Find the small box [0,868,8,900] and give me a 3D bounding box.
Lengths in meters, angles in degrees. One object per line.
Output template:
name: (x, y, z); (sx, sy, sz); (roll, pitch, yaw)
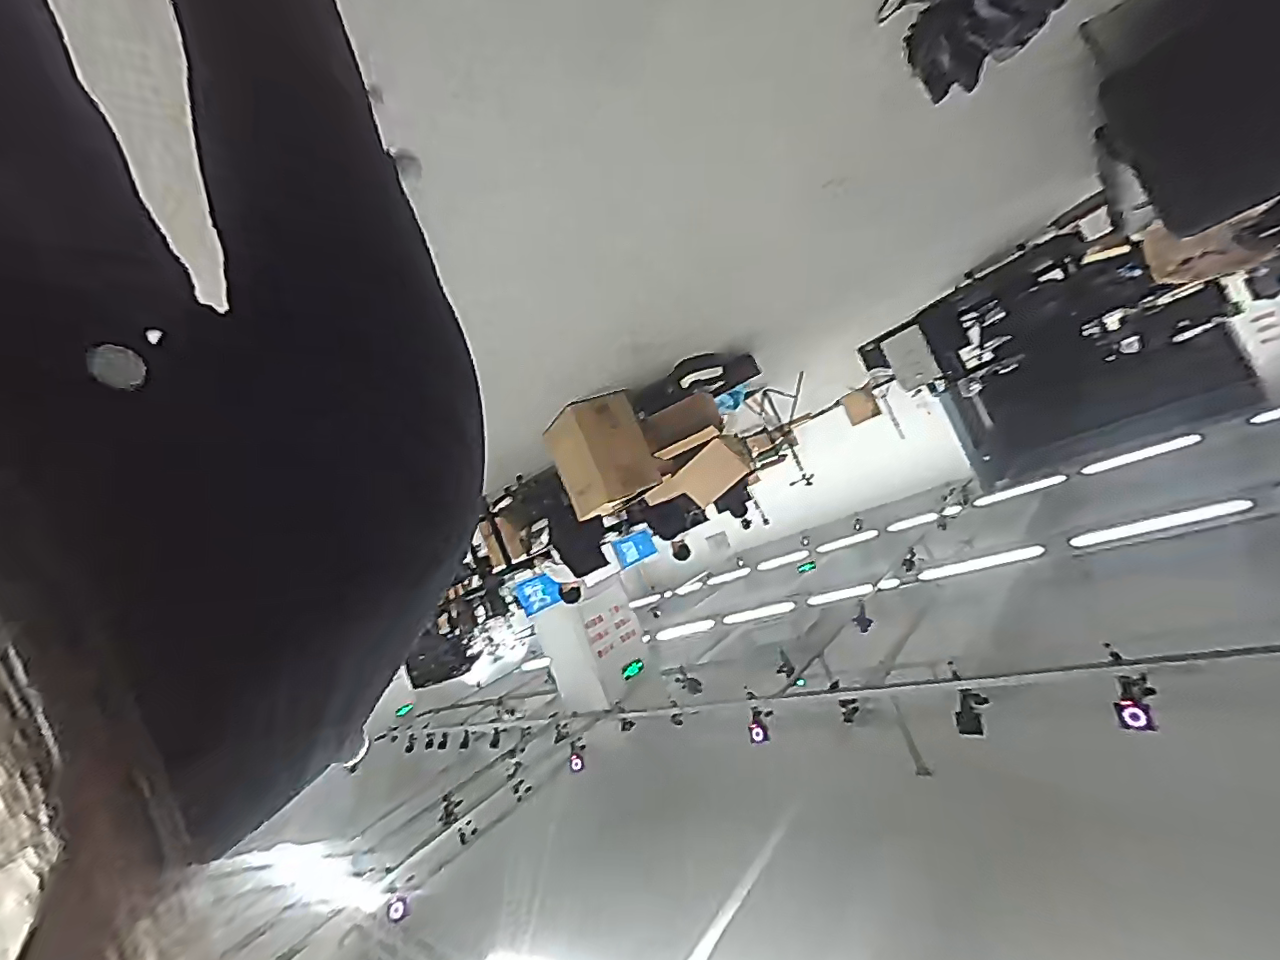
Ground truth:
small box: (-1.937, 1.151, 1.515); (0.179, 0.176, 0.168); (-18, 174, -46)
